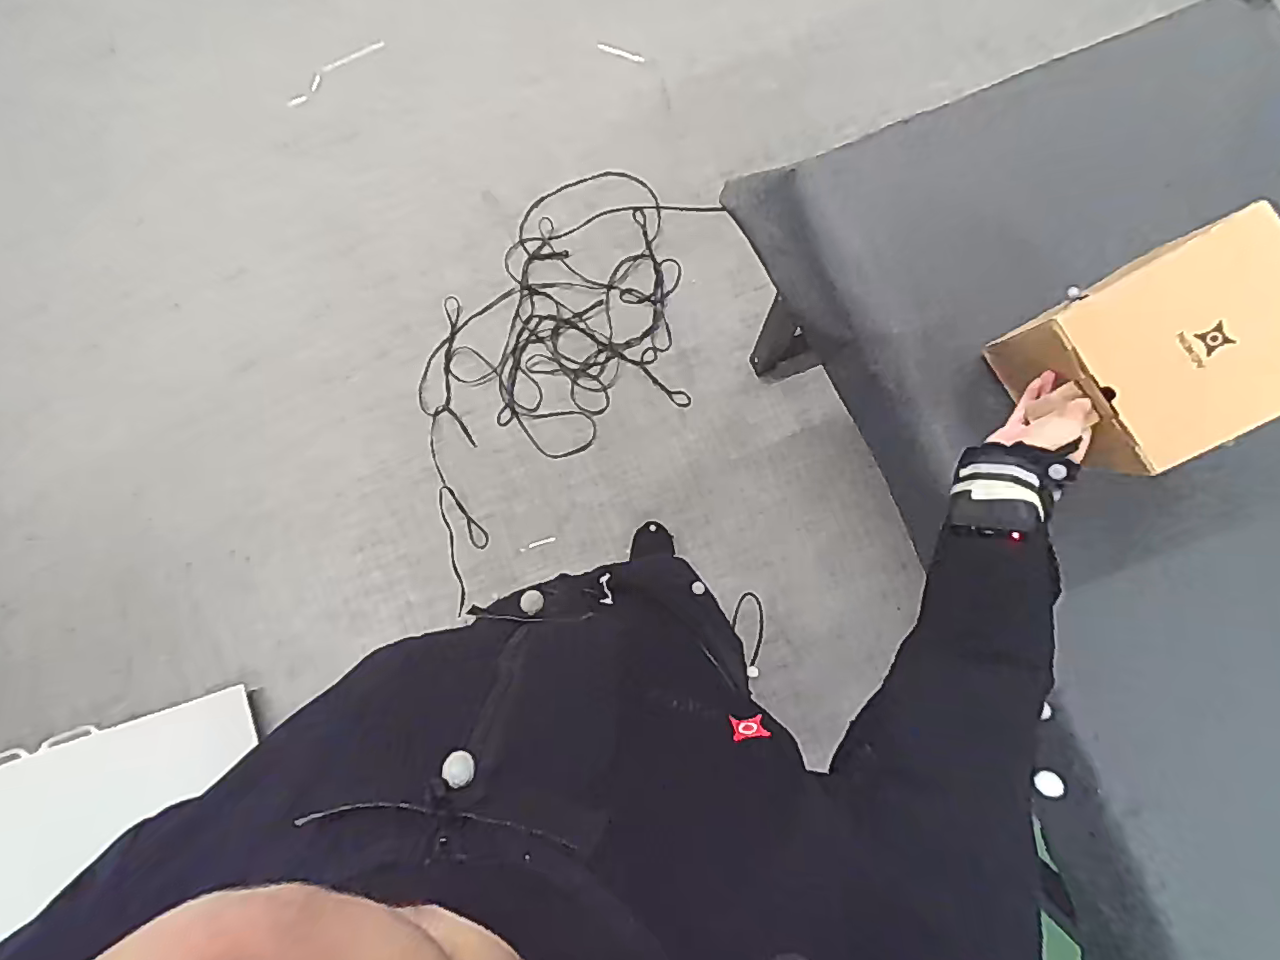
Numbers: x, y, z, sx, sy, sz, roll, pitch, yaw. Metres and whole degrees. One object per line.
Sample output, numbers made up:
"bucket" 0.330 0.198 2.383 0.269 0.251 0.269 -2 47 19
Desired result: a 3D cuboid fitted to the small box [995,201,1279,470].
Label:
"small box" 0.506 -0.126 0.537 0.179 0.176 0.168 -32 85 14
